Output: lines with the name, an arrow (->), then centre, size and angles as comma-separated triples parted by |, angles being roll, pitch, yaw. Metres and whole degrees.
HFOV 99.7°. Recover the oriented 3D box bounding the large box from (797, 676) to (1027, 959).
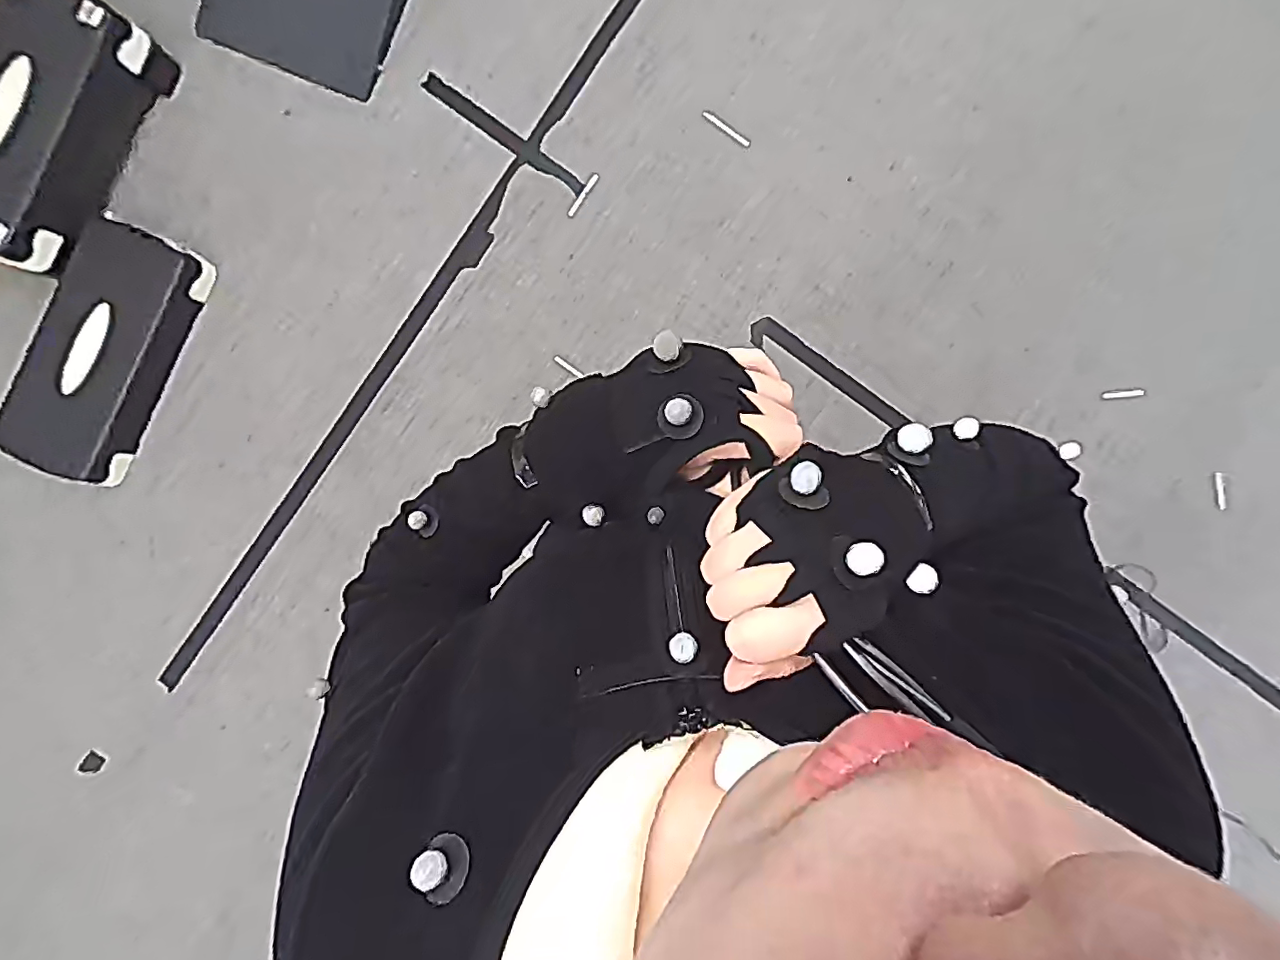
large box -> 0.570, 0.704, 1.192 | 0.320, 0.320, 0.408 | -9, 92, -1
